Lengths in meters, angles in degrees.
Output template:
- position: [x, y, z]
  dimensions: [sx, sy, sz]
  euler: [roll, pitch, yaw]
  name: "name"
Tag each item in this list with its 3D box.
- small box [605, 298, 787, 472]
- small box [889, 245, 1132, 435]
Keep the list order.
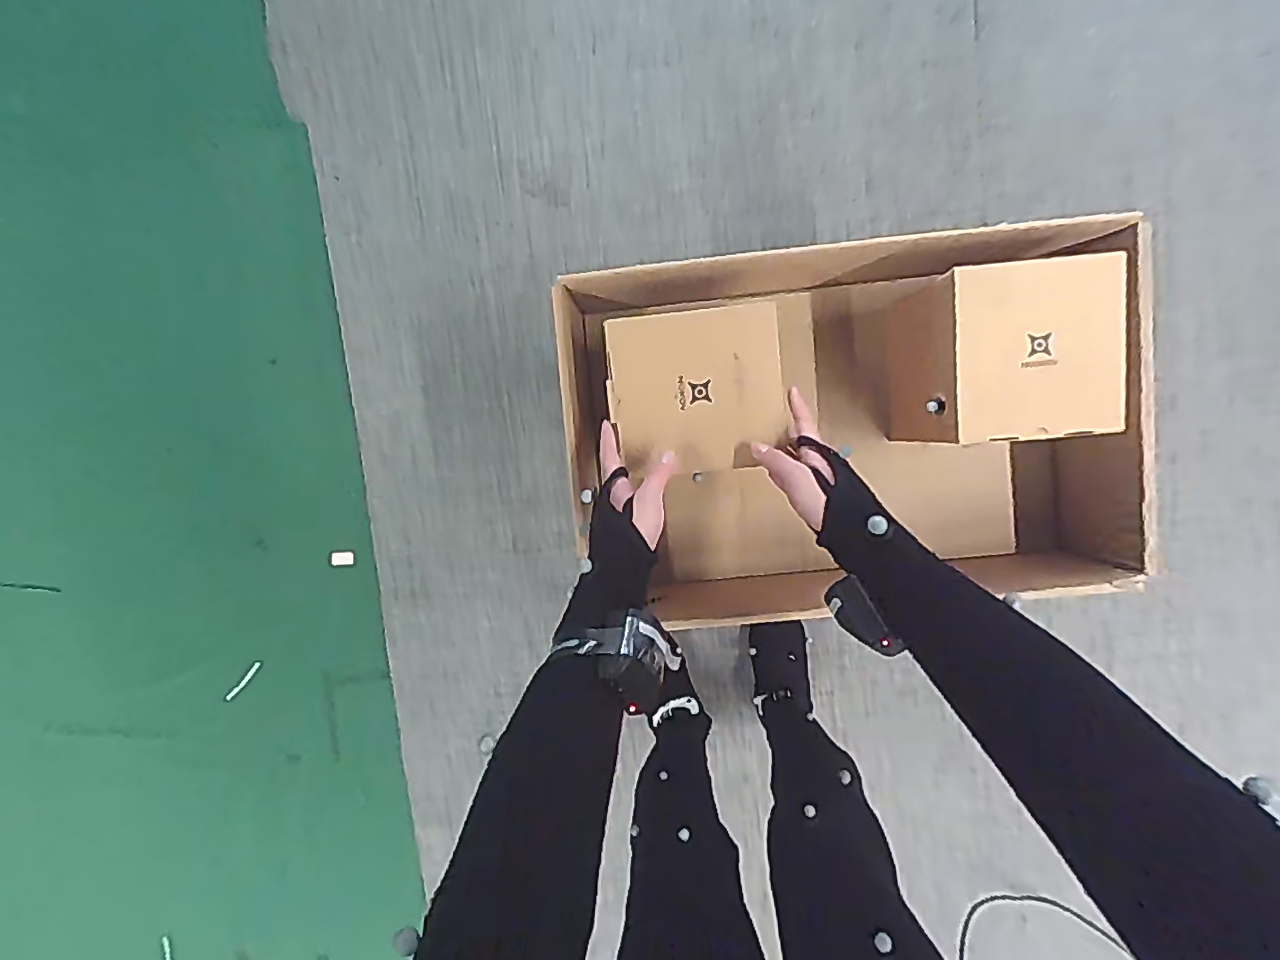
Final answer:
- position: [0.062, -0.101, 0.628]
  dimensions: [0.179, 0.176, 0.168]
  euler: [-5, 96, 3]
  name: "small box"
- position: [0.396, -0.143, 0.608]
  dimensions: [0.168, 0.176, 0.179]
  euler: [-4, 97, 2]
  name: "small box"
